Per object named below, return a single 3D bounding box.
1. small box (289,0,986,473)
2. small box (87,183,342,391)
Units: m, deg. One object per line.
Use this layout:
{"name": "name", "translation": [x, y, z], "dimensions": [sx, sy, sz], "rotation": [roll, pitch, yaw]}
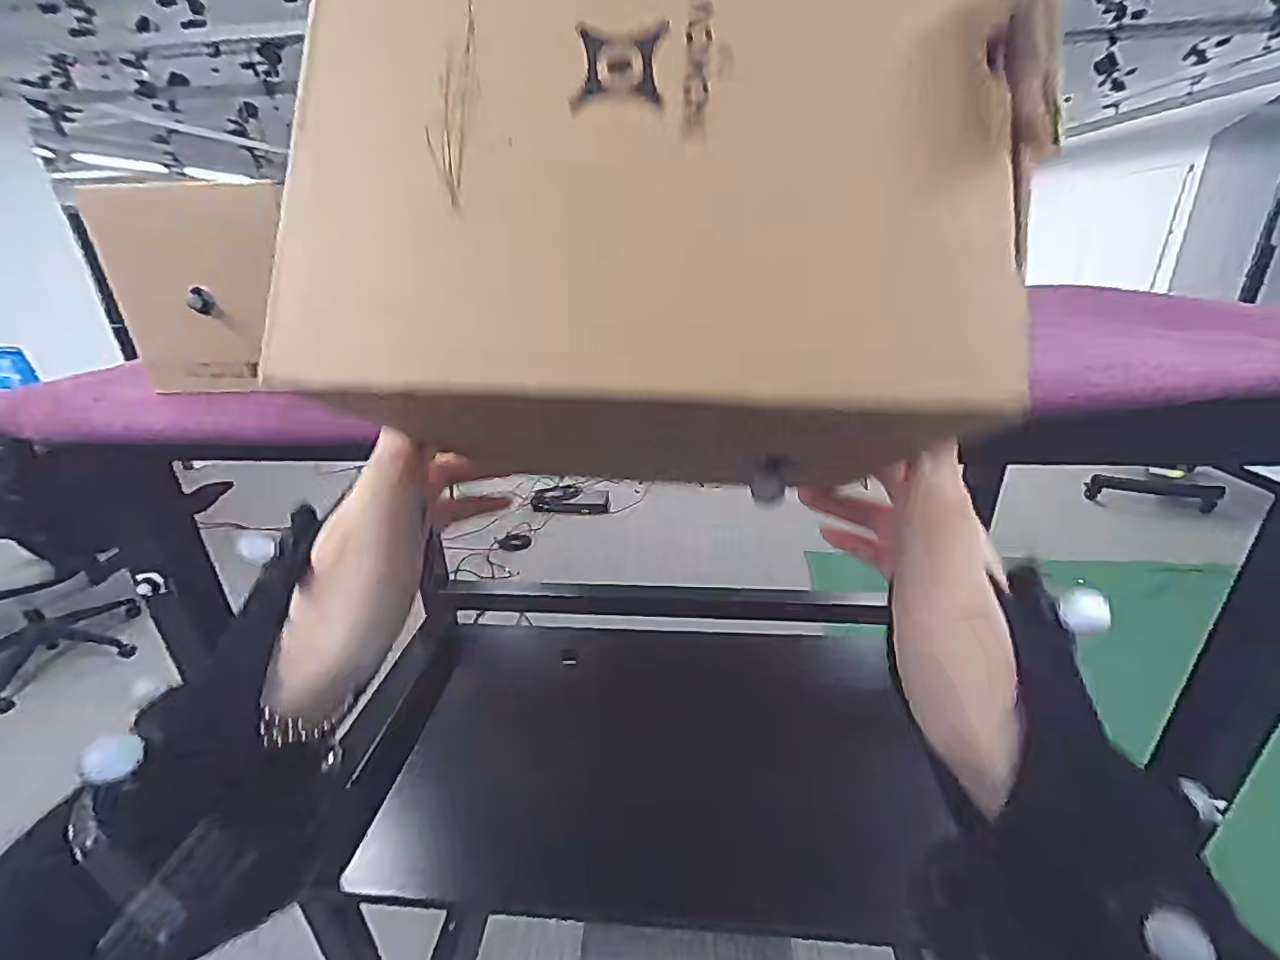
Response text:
{"name": "small box", "translation": [0.006, -0.097, 0.221], "dimensions": [0.179, 0.168, 0.176], "rotation": [2, -8, 7]}
{"name": "small box", "translation": [-0.354, -0.187, 0.533], "dimensions": [0.168, 0.176, 0.179], "rotation": [1, 24, 3]}
